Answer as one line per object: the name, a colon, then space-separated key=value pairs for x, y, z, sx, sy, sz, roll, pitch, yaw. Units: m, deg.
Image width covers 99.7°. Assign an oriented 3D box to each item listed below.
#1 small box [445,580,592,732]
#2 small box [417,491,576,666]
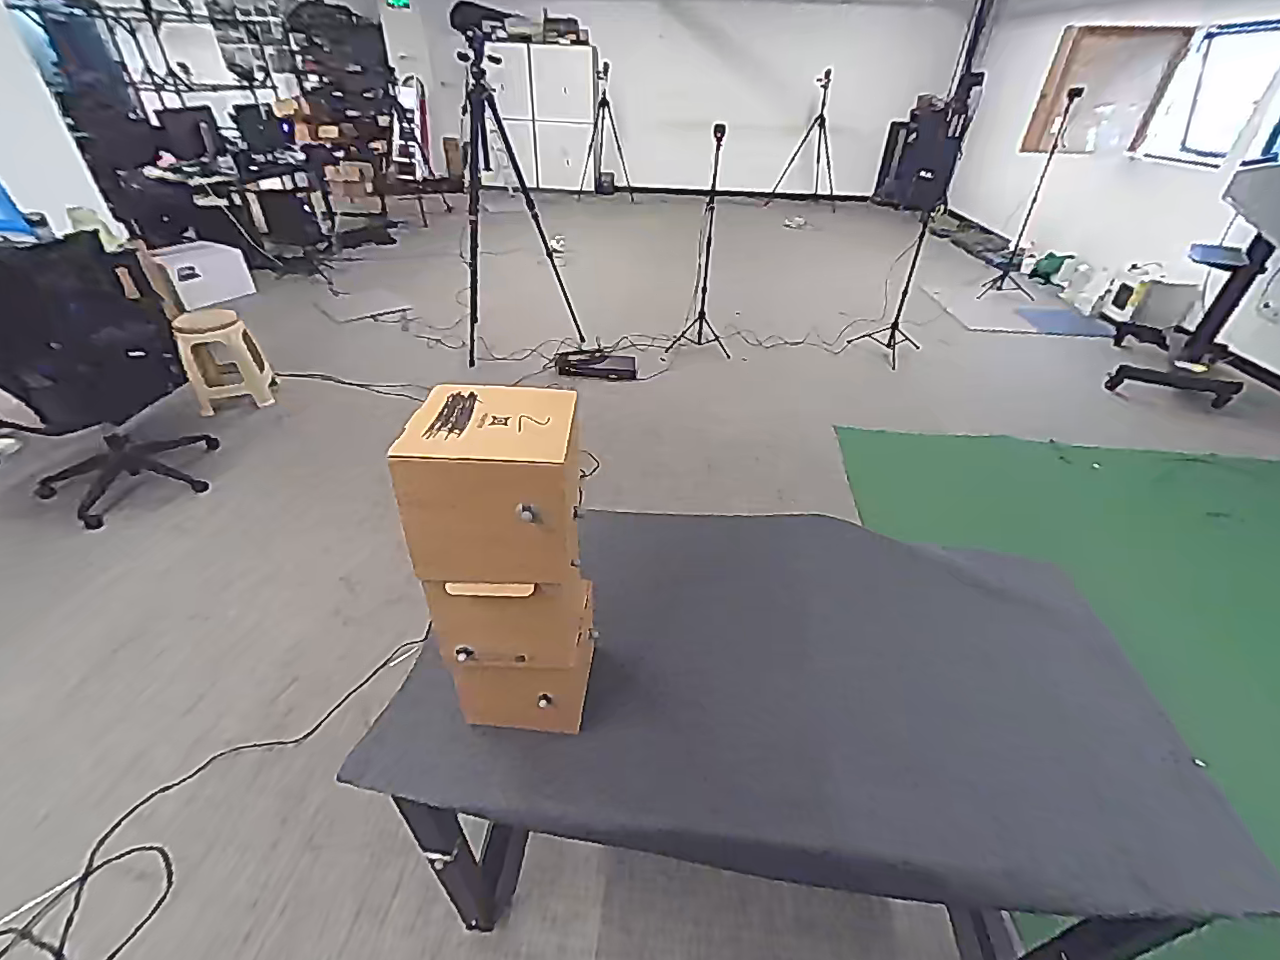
small box: x=-0.172 y=0.267 z=0.835 sx=0.179 sy=0.176 sz=0.168 roll=3 pitch=35 yaw=3
small box: x=-0.179 y=0.133 z=0.738 sx=0.168 sy=0.176 sz=0.179 roll=1 pitch=34 yaw=-1
